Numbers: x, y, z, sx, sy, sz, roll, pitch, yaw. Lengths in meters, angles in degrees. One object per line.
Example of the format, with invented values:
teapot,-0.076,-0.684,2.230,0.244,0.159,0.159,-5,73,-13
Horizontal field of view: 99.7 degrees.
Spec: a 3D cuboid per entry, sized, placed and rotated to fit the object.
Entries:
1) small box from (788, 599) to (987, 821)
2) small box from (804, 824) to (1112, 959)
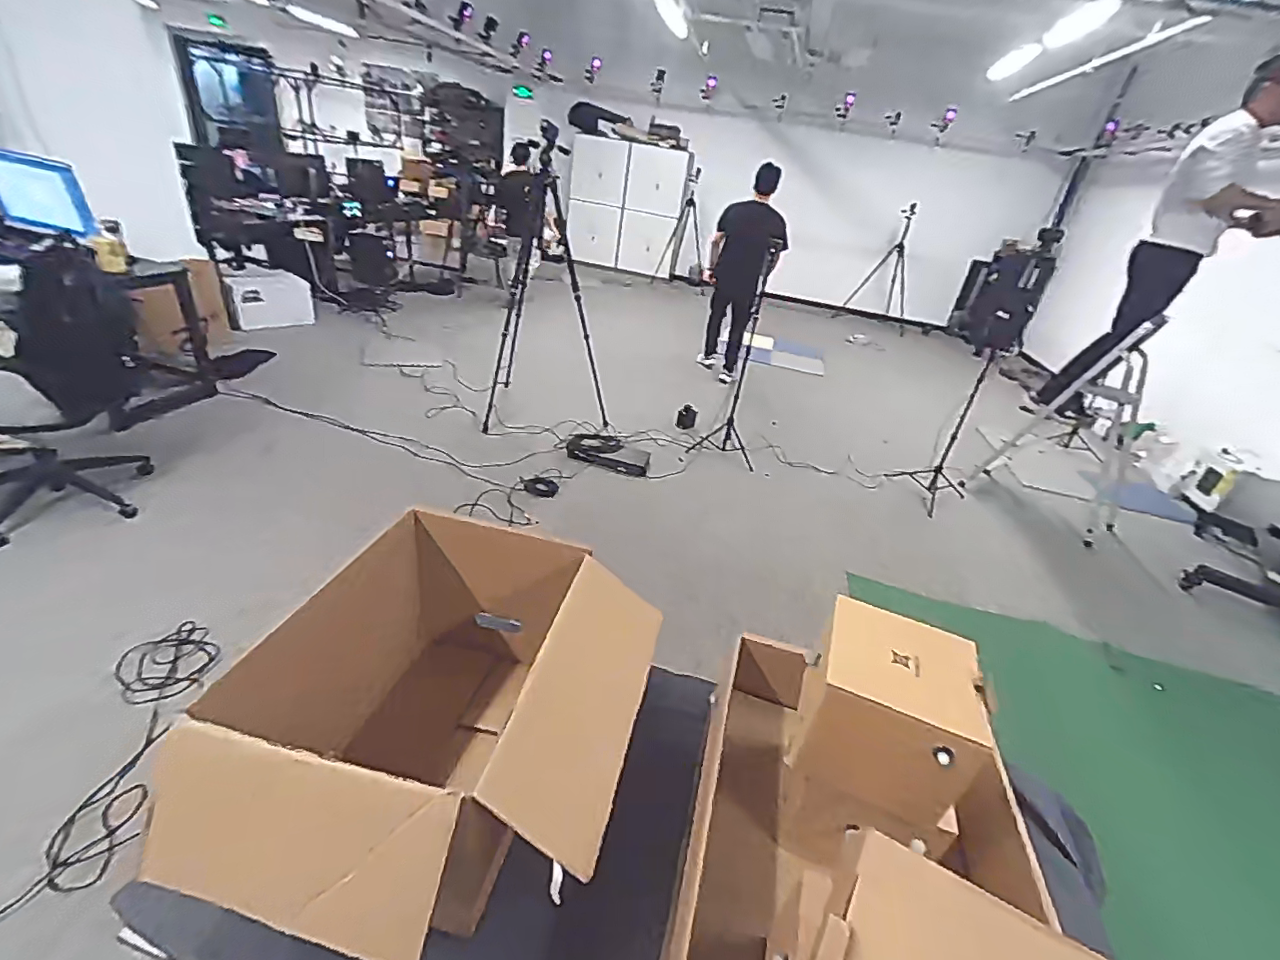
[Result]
small box,0.304,0.290,0.692,0.179,0.176,0.168,19,33,15
small box,0.216,0.382,0.391,0.179,0.176,0.168,19,65,24
